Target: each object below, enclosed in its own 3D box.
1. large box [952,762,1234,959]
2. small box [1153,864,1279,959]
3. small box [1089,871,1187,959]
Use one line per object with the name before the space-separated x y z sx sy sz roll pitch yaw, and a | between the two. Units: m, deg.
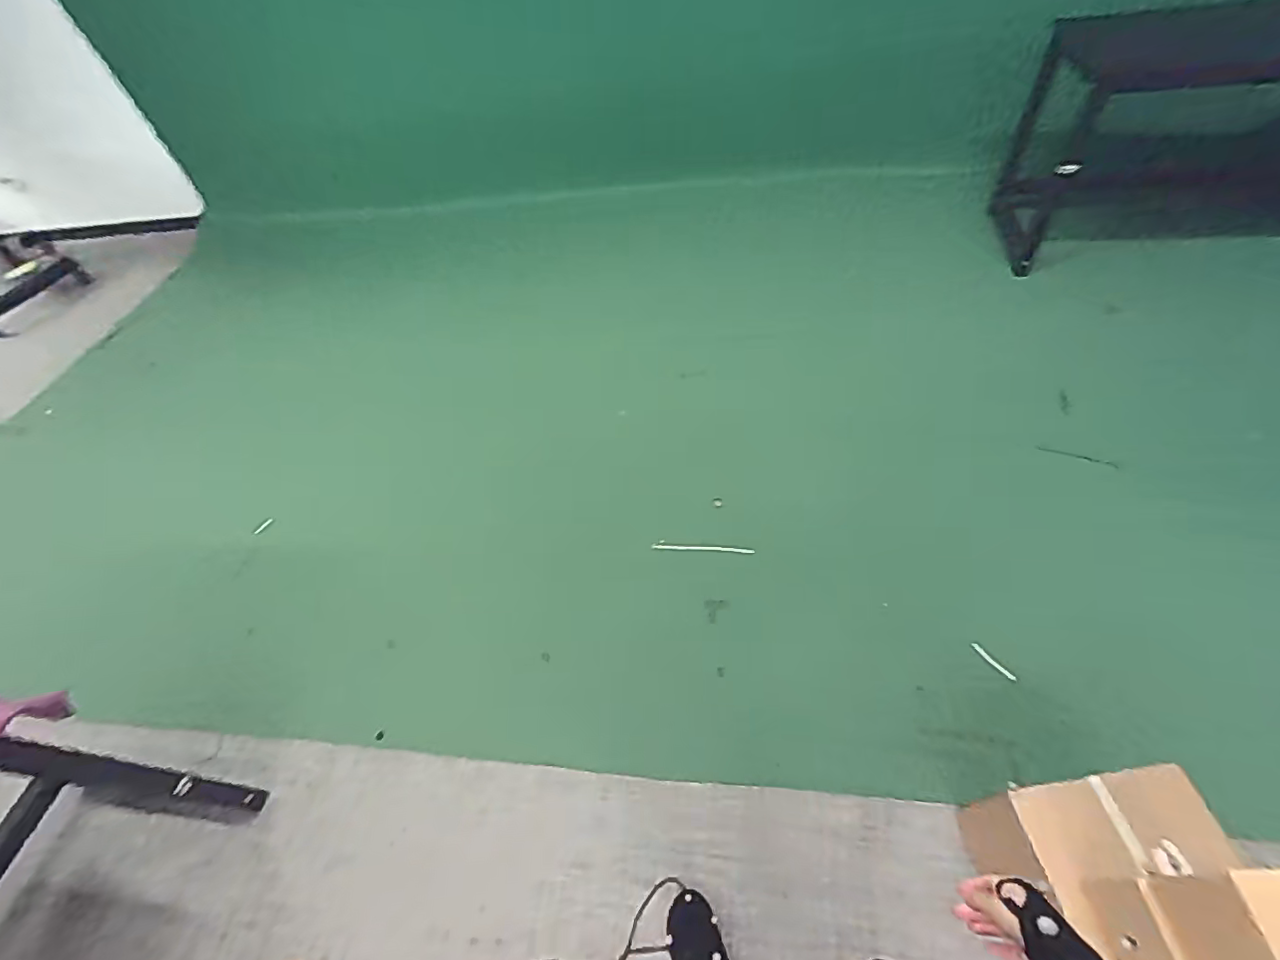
large box | 0.853 0.785 0.978 0.320 0.320 0.408 -9 50 0
small box | 0.782 0.565 0.639 0.168 0.176 0.179 -5 53 5
small box | 0.795 0.661 0.770 0.179 0.176 0.168 -6 53 5
